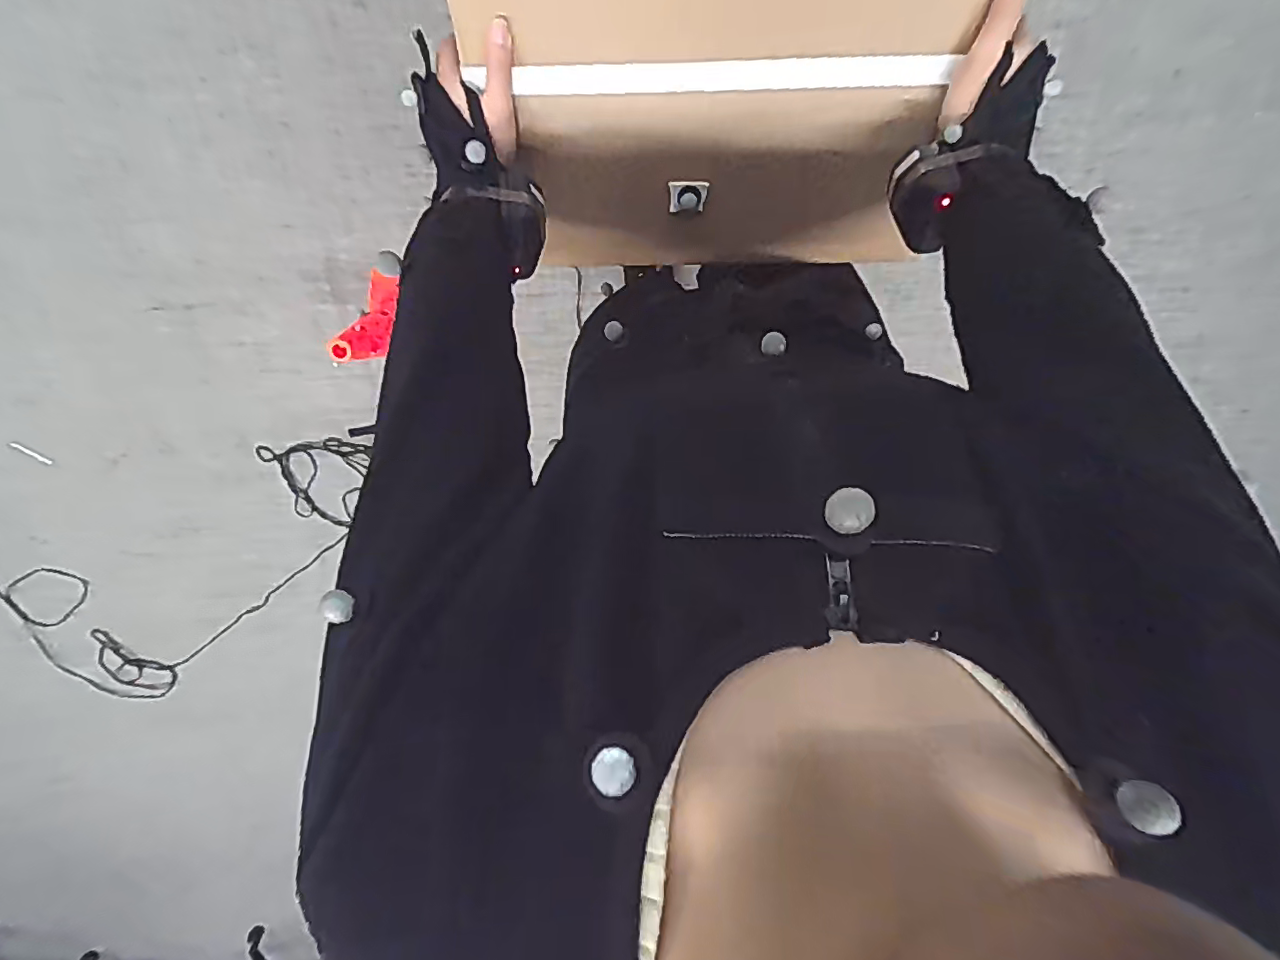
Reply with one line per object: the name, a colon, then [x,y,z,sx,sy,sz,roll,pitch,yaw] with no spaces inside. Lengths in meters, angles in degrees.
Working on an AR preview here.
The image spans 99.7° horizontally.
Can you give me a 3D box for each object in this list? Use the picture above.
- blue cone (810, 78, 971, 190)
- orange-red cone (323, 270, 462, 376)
blue cone: [0.444,-0.628,0.943,0.192,0.380,0.193,-1,114,0]
orange-red cone: [-0.518,-0.287,1.071,0.199,0.360,0.198,18,111,-6]
